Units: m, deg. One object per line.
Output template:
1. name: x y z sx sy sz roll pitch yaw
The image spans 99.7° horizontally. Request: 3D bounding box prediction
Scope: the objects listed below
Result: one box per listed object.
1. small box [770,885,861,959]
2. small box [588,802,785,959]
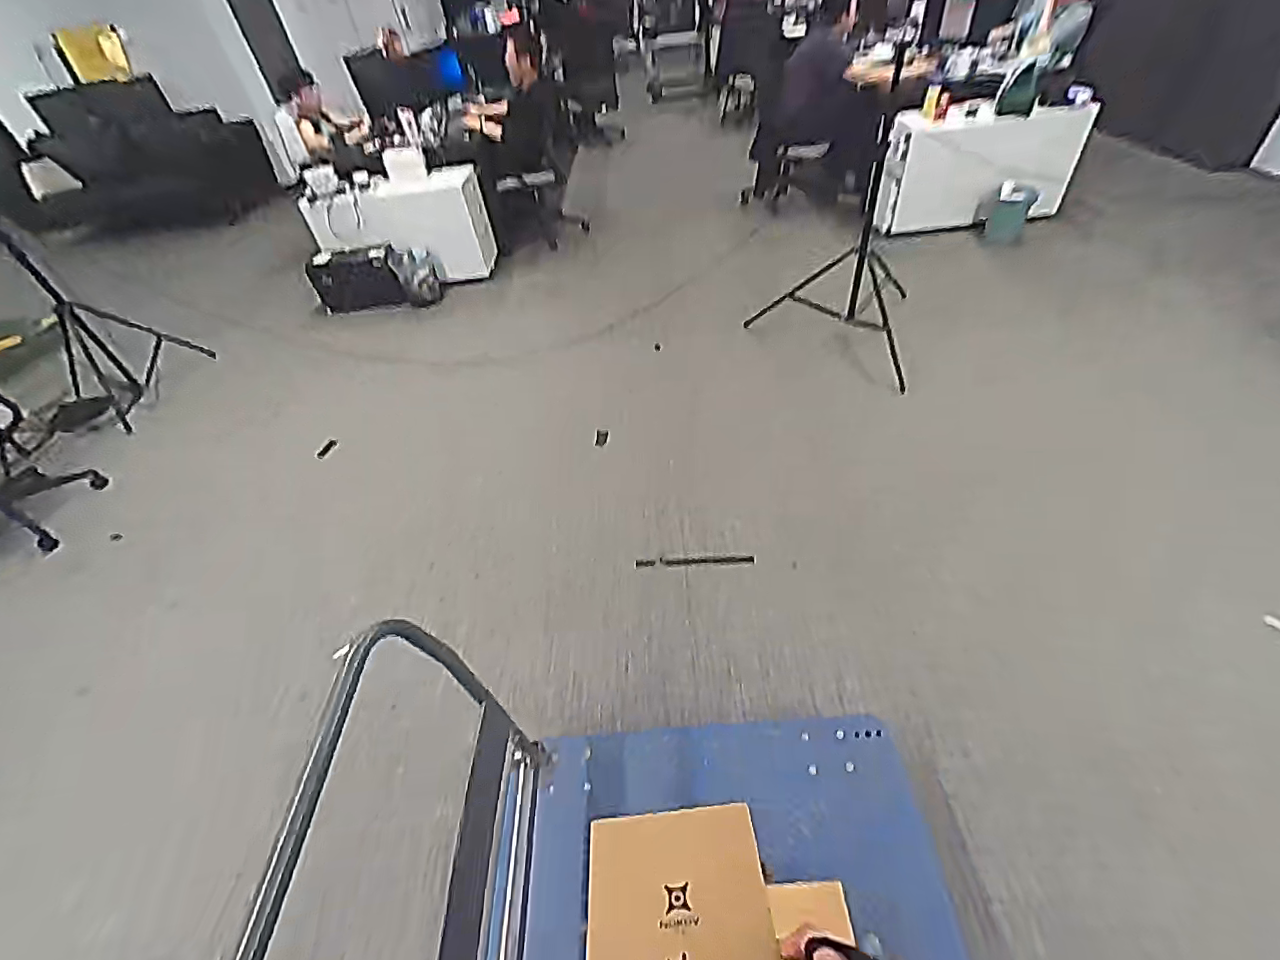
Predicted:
1. small box: 0.269 0.804 0.901 0.168 0.176 0.179 -6 44 3
2. small box: 0.047 0.448 0.514 0.168 0.176 0.179 -9 30 2
